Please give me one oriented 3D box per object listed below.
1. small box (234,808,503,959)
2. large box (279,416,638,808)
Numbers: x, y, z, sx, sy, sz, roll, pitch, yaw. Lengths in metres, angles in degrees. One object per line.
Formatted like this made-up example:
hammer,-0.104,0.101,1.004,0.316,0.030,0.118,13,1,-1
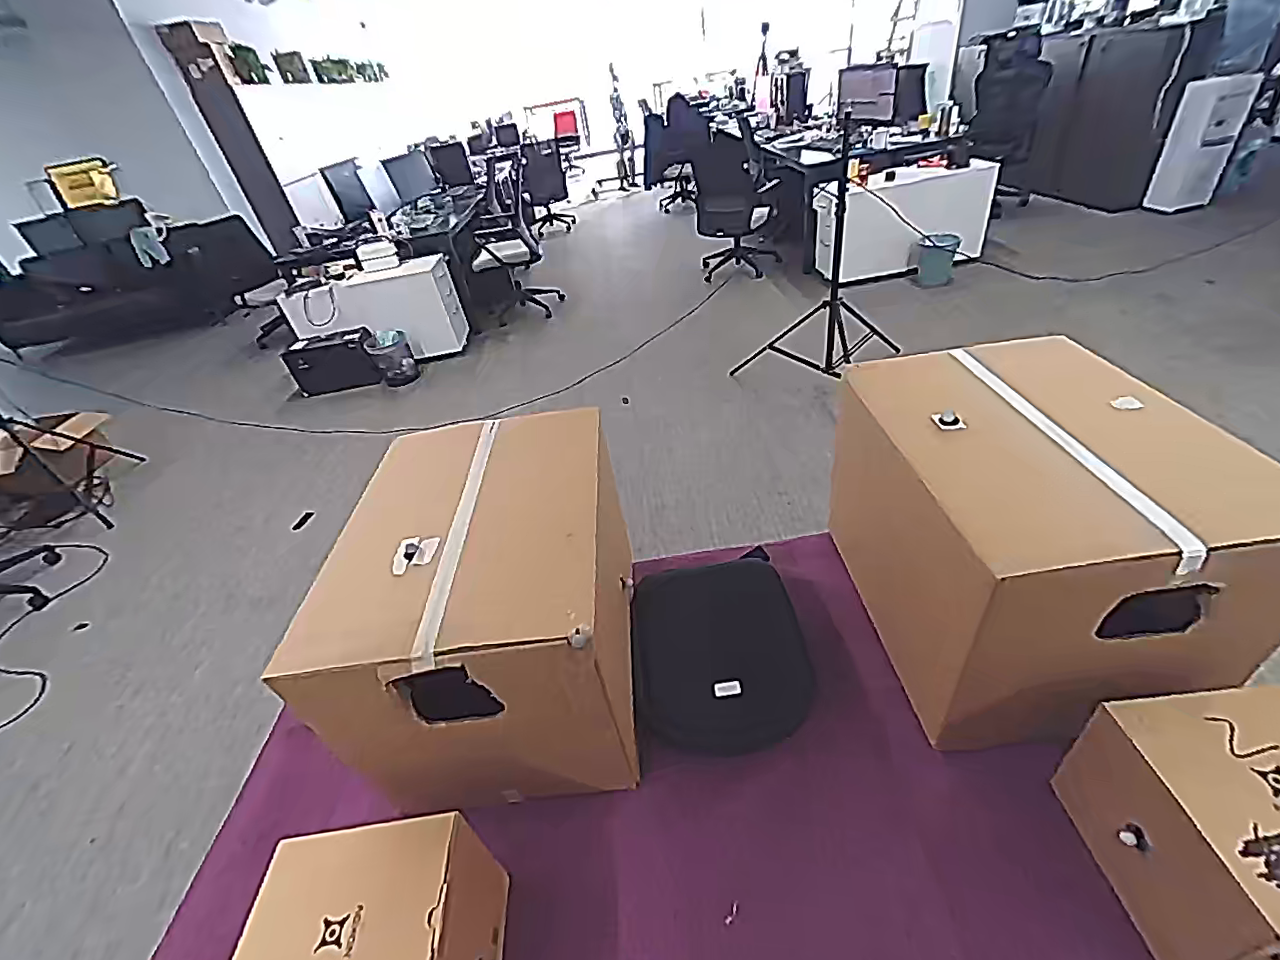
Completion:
small box,-0.245,0.445,0.508,0.179,0.176,0.168,-10,36,0
large box,-0.183,0.164,0.745,0.320,0.320,0.408,-9,40,3
